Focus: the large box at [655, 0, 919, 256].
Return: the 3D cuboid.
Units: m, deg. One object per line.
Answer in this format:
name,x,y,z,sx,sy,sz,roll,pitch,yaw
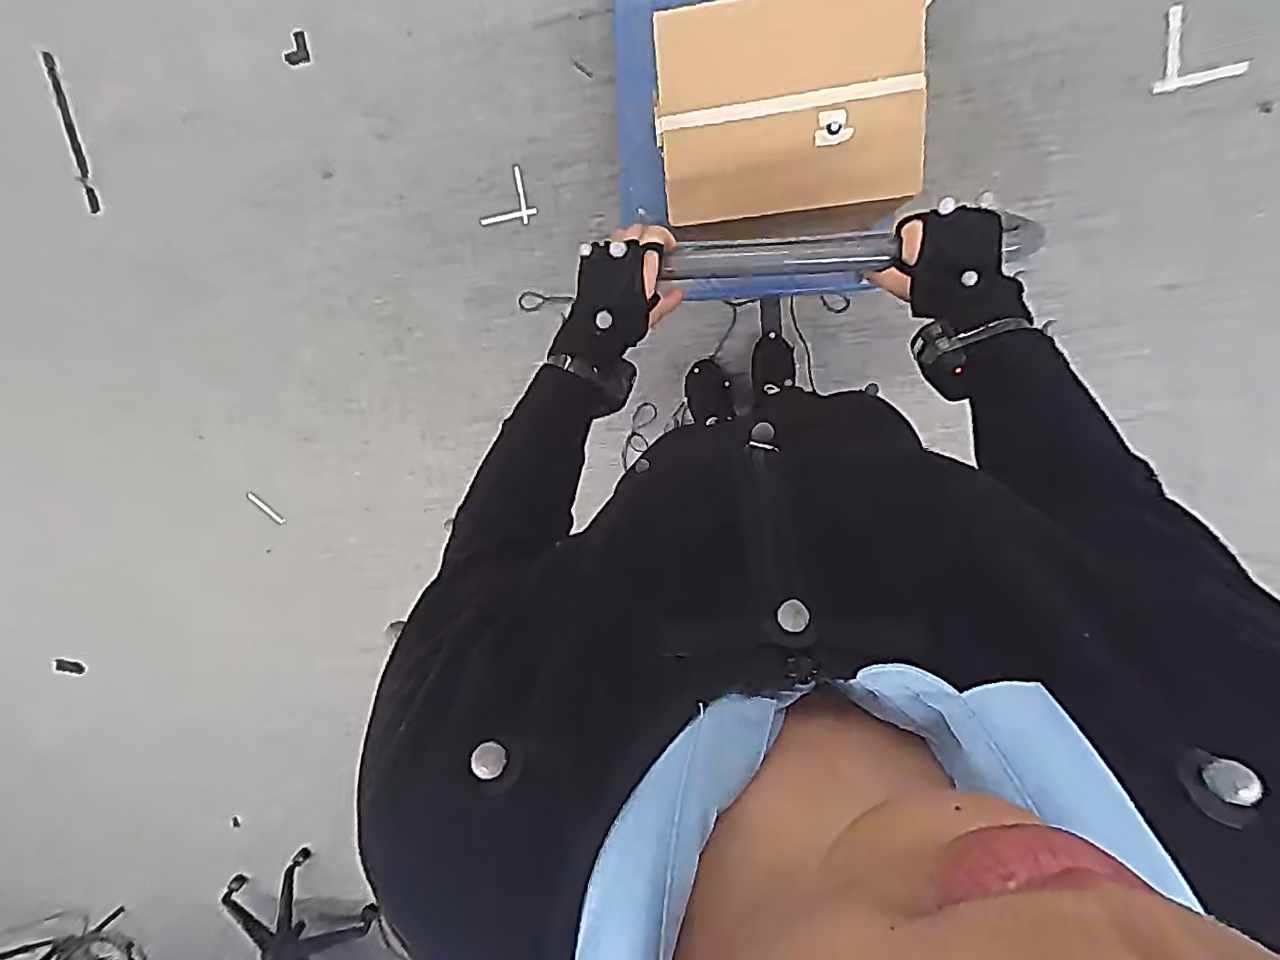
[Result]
large box,0.251,-0.629,1.008,0.408,0.320,0.320,-4,104,8
